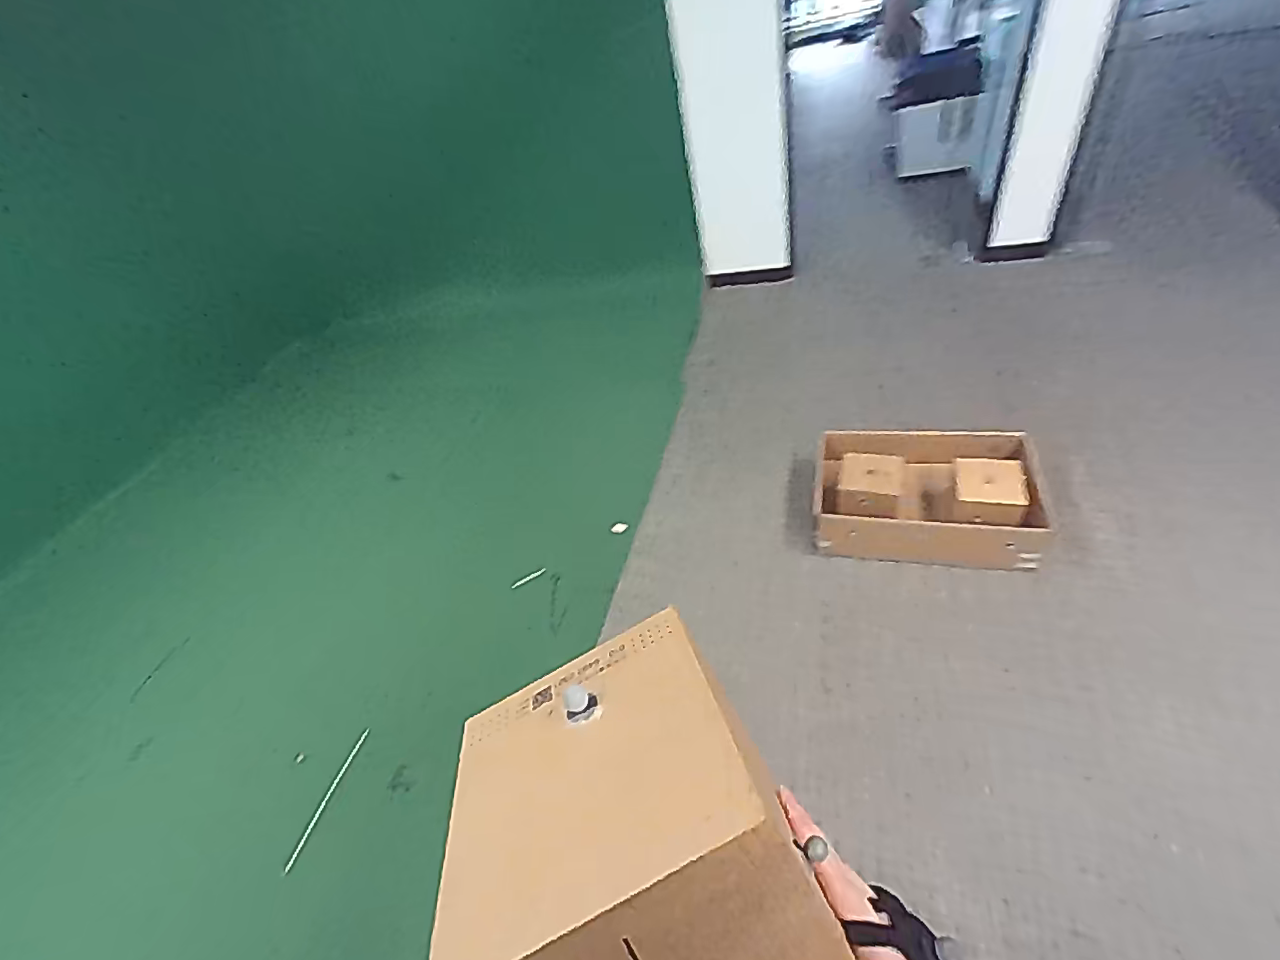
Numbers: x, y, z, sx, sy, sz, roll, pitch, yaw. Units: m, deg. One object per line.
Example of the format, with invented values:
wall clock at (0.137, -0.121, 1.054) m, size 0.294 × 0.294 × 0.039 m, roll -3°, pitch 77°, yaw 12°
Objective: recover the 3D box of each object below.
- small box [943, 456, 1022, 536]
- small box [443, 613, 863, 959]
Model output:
small box at (1.019, 0.048, 1.621) m, size 0.168 × 0.176 × 0.179 m, roll 4°, pitch 48°, yaw 21°
small box at (0.010, 0.219, 0.333) m, size 0.168 × 0.179 × 0.176 m, roll -28°, pitch 21°, yaw 0°
